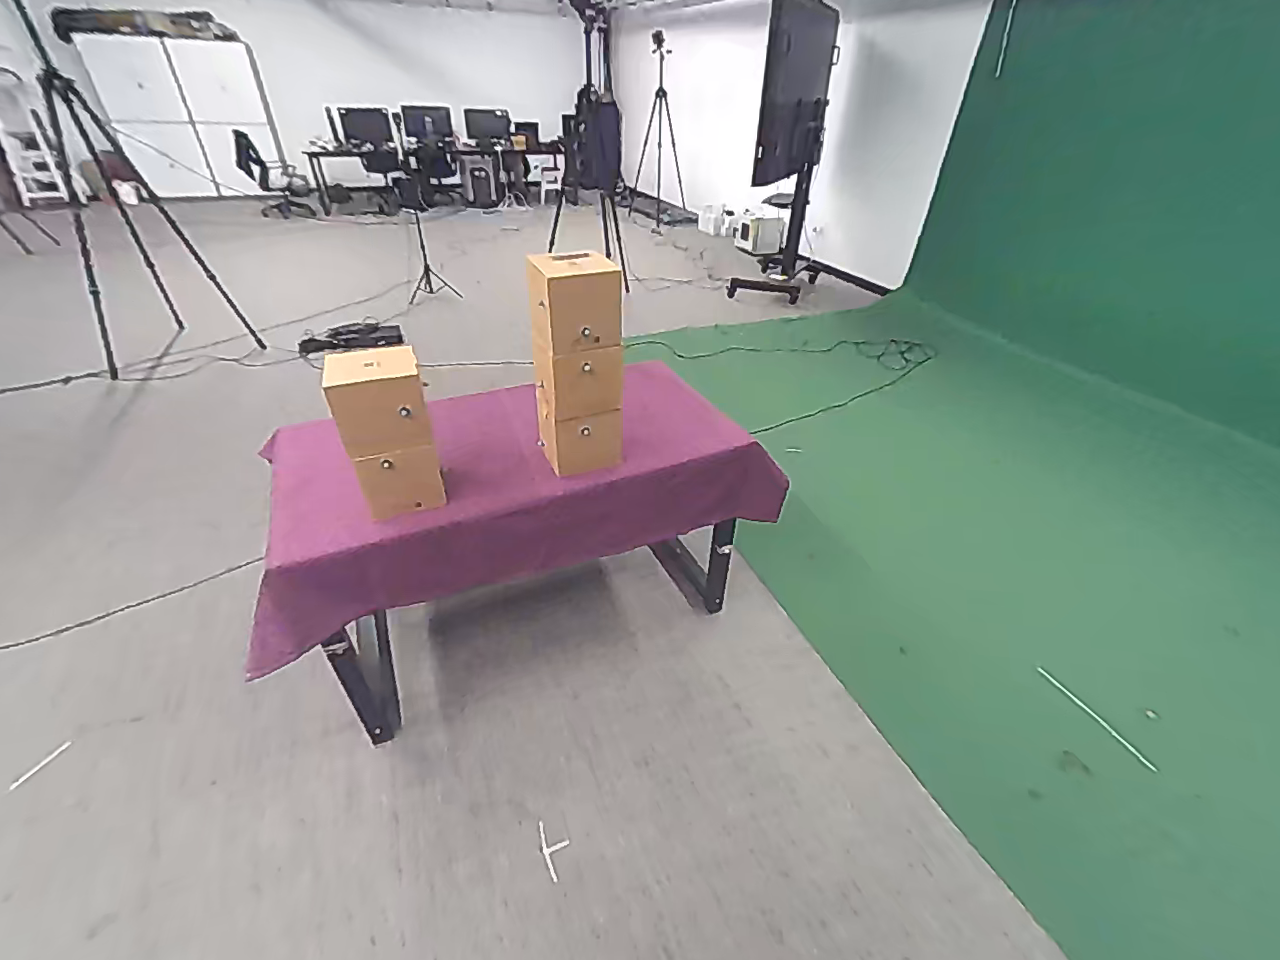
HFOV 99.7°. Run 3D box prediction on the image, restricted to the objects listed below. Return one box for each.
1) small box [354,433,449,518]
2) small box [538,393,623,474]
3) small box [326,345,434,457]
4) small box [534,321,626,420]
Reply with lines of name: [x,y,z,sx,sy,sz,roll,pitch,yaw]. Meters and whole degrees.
small box: [-0.550,-0.037,1.252,0.168,0.176,0.179,-14,38,-19]
small box: [-0.151,-0.134,1.399,0.179,0.176,0.168,-13,39,-20]
small box: [-0.546,-0.170,1.156,0.179,0.176,0.168,-13,38,-18]
small box: [-0.144,-0.266,1.304,0.179,0.176,0.168,-15,40,-20]
